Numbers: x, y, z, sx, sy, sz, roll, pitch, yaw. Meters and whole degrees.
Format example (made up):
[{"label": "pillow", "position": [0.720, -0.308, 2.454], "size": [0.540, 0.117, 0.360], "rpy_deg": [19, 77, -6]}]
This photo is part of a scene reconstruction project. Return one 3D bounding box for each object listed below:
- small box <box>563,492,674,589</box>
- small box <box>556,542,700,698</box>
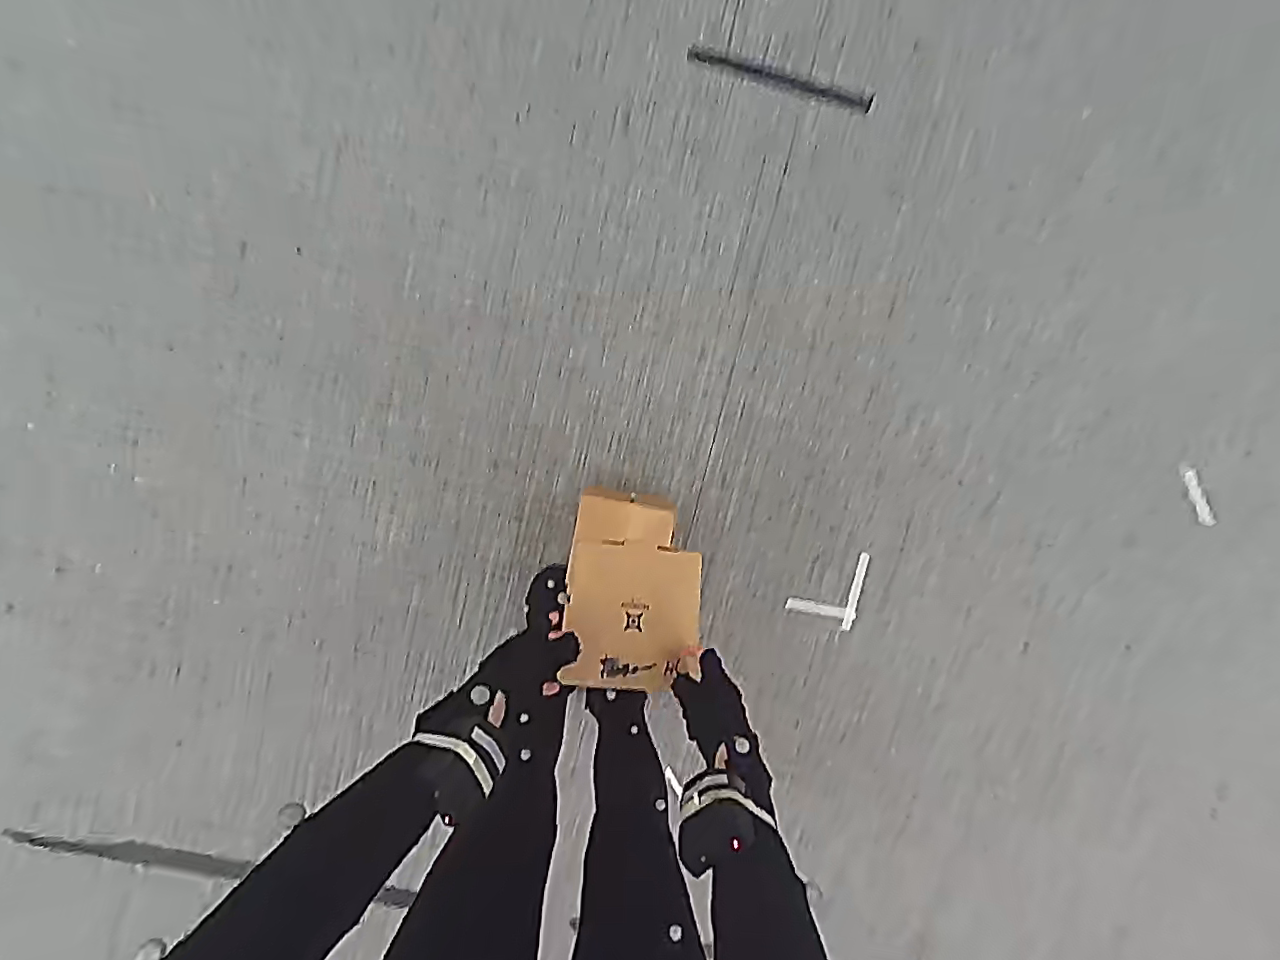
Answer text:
[{"label": "small box", "position": [-0.044, 0.123, 1.046], "size": [0.179, 0.176, 0.168], "rpy_deg": [11, 95, -4]}, {"label": "small box", "position": [-0.023, 0.194, 0.740], "size": [0.168, 0.176, 0.179], "rpy_deg": [7, 71, -8]}]
